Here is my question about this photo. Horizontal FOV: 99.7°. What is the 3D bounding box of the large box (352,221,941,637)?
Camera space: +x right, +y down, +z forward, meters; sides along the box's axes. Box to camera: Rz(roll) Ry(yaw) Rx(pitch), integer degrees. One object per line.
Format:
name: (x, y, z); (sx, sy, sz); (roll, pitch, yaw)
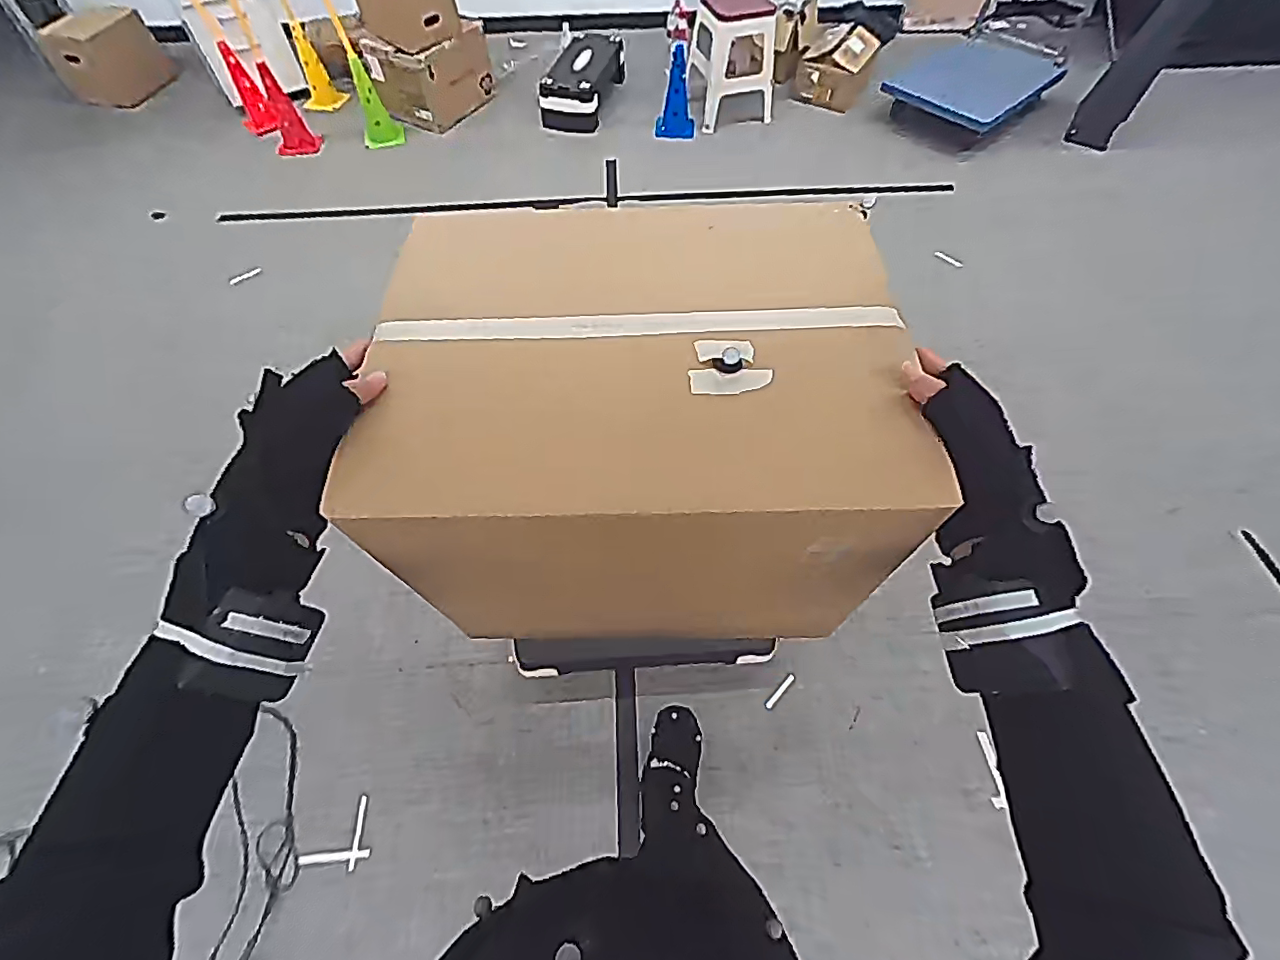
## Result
large box: (0.003, -0.034, 0.562); (0.408, 0.320, 0.320); (-1, 60, 1)
